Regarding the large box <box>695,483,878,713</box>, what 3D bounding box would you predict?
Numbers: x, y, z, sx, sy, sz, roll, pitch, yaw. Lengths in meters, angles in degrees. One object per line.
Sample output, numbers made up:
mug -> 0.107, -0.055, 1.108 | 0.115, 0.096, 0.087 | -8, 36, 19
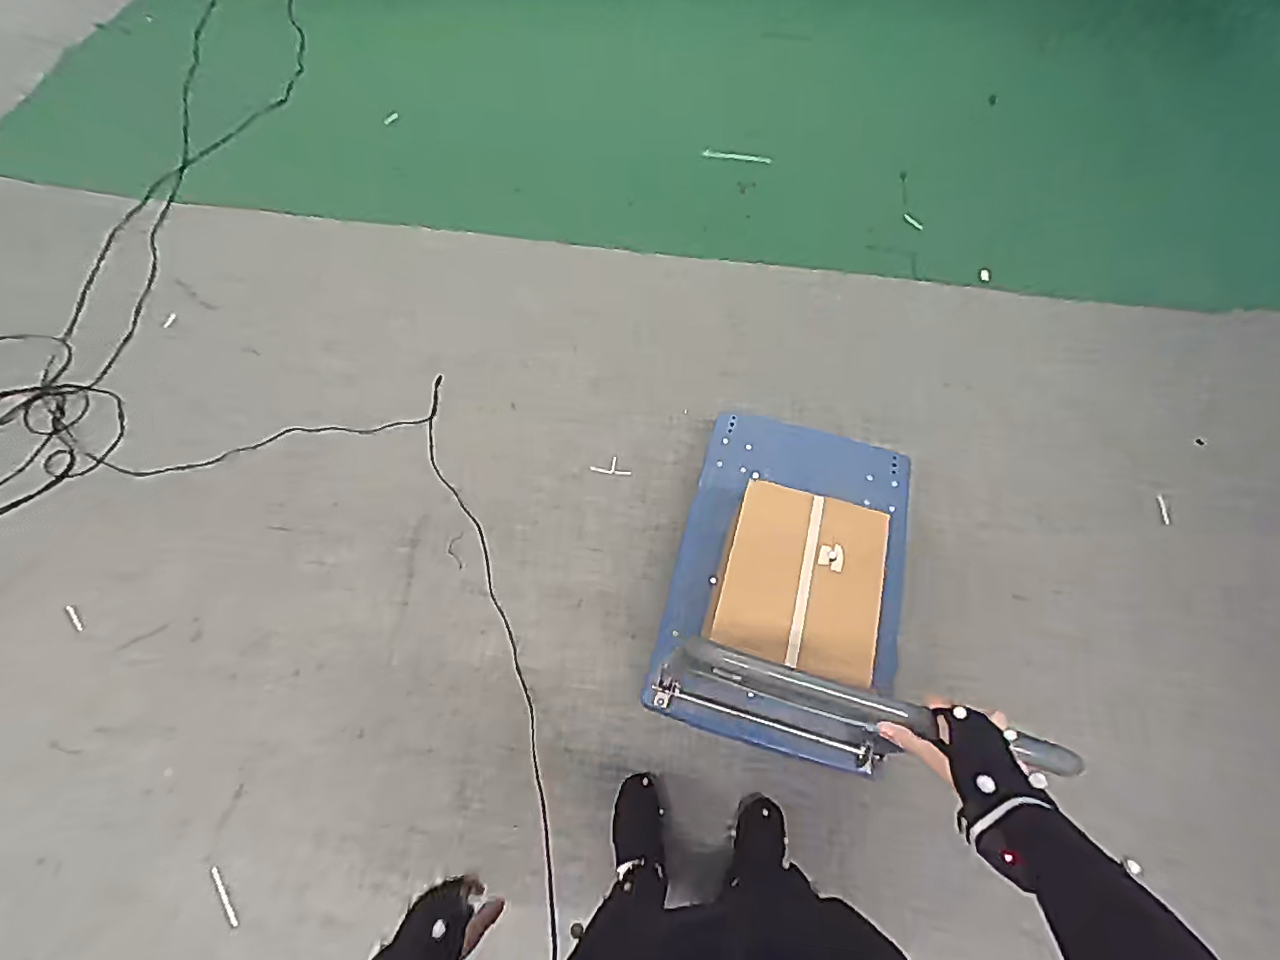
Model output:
large box -> 0.328, 0.282, 1.256 | 0.320, 0.320, 0.408 | 16, 63, 7
